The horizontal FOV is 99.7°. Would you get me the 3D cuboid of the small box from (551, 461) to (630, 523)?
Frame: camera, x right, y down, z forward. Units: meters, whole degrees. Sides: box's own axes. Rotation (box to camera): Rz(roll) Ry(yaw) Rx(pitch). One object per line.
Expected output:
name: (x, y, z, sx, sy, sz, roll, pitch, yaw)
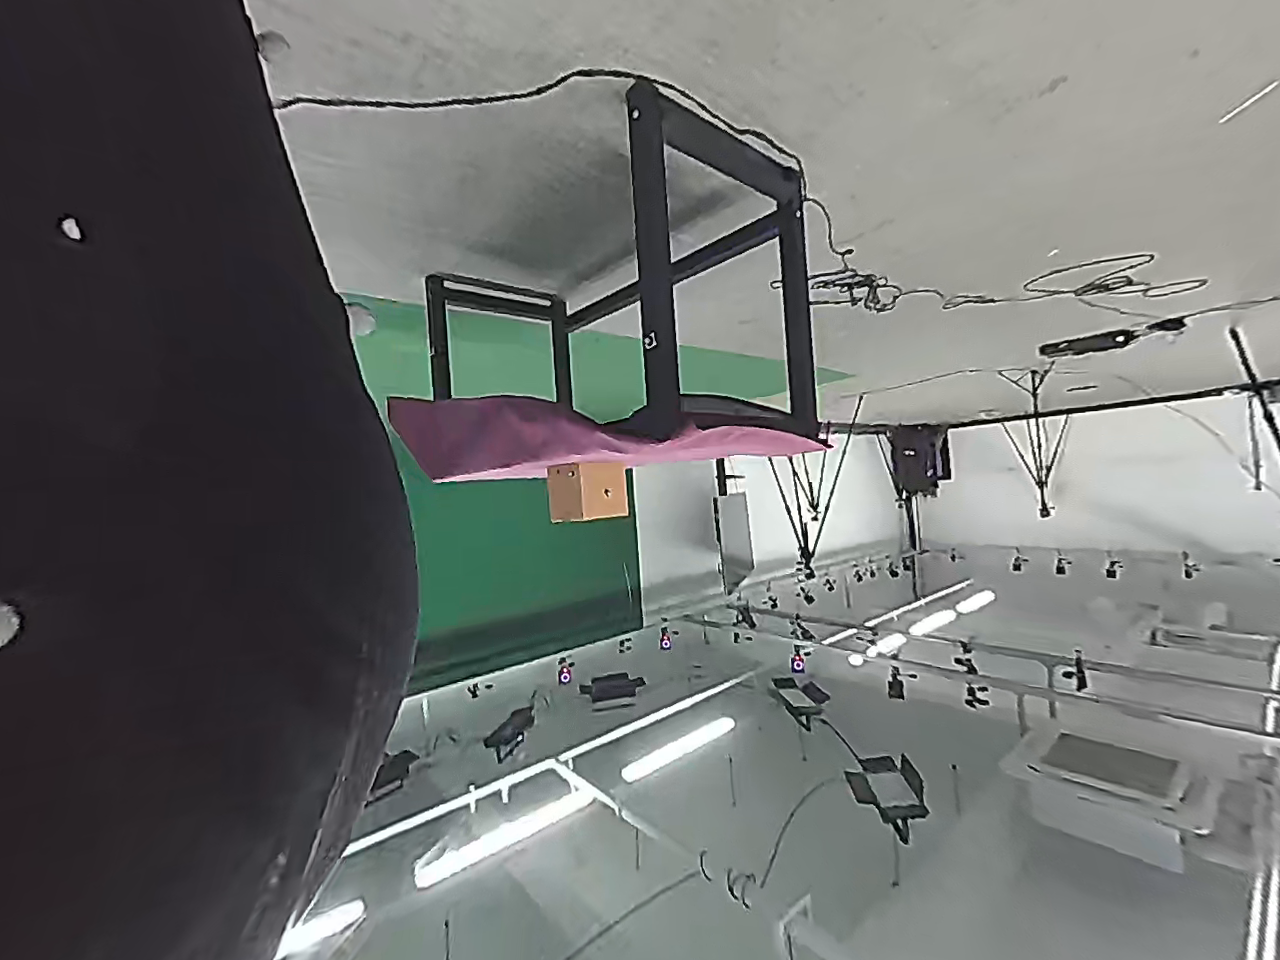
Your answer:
small box: (-0.153, 0.036, 1.632, 0.179, 0.176, 0.168, -5, 179, -42)
